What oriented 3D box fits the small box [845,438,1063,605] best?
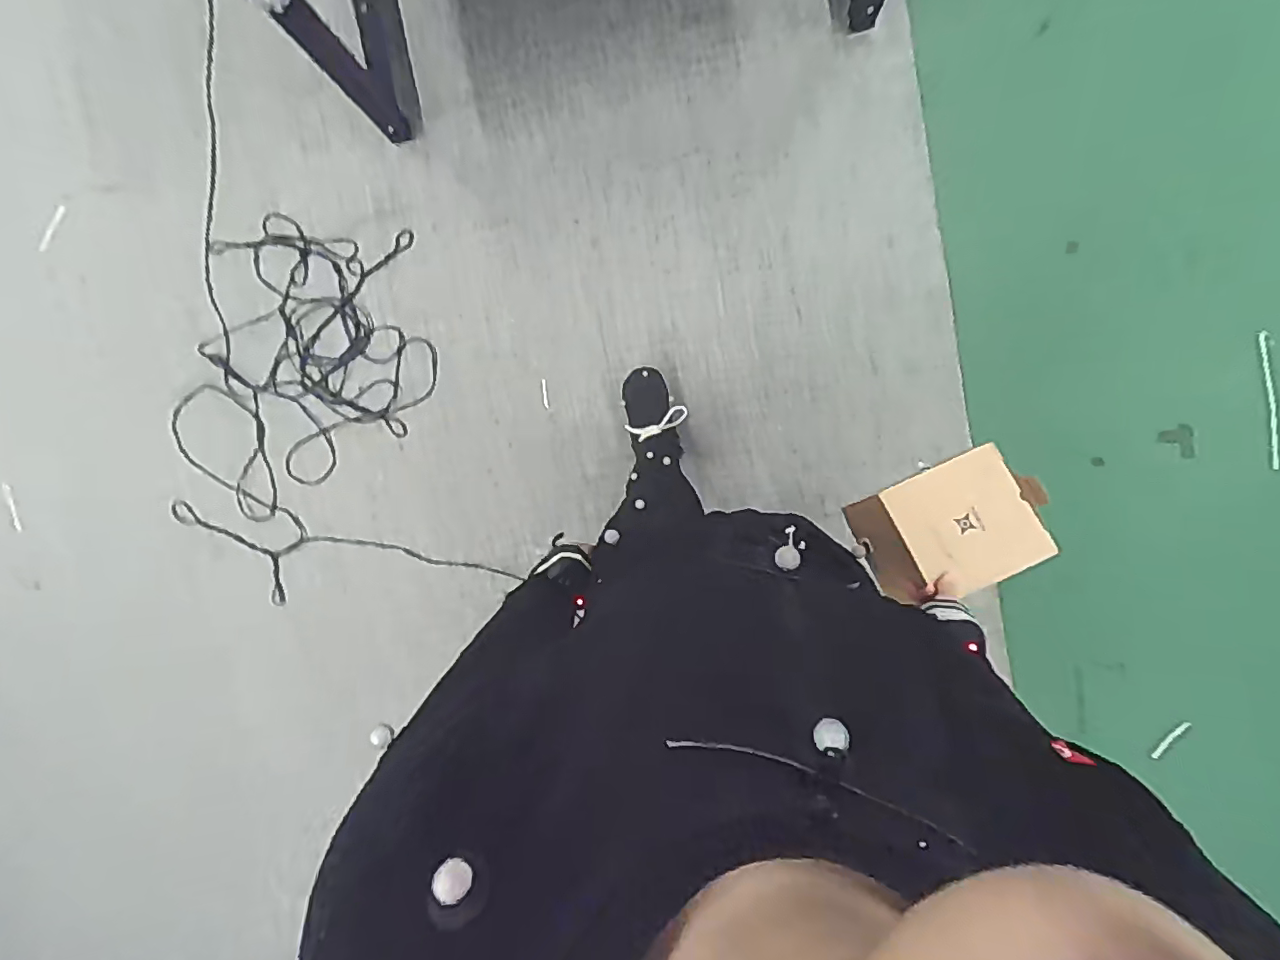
[{"bbox_3d":[0.426,0.064,0.769,0.179,0.176,0.168,-25,78,-2],"label":"small box"}]
